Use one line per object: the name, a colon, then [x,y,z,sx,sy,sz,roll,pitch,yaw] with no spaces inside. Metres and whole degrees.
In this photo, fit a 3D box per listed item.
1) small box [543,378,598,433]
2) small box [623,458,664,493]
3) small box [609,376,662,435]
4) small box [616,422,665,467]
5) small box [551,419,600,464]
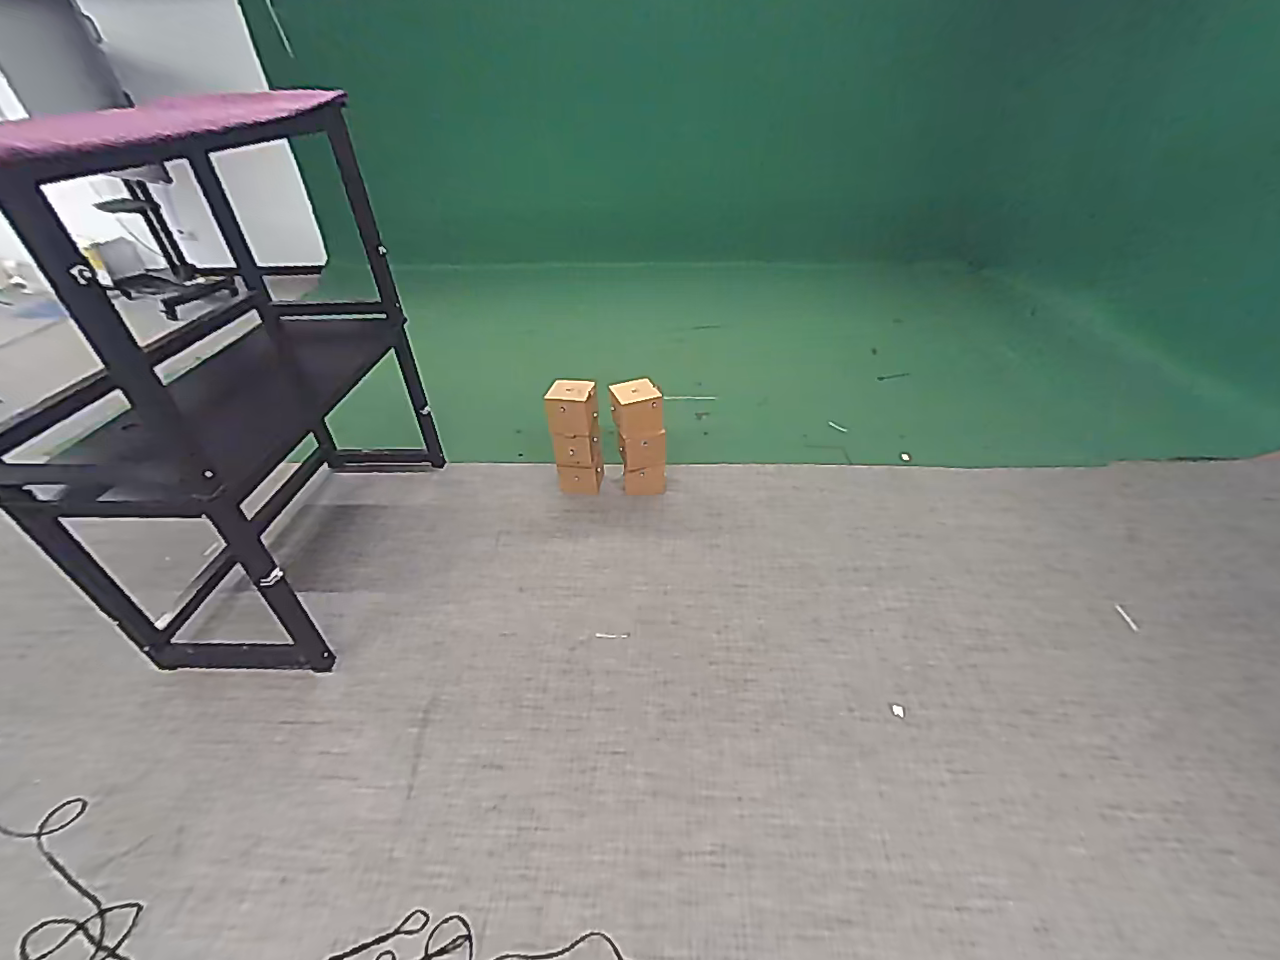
small box: [-0.281,-0.308,2.238,0.179,0.176,0.168,6,39,11]
small box: [0.015,-0.054,2.434,0.179,0.176,0.168,-4,39,-3]
small box: [-0.019,-0.305,2.229,0.179,0.176,0.168,-15,41,-16]
small box: [0.002,-0.175,2.326,0.179,0.176,0.168,-12,41,-13]
small box: [-0.275,-0.184,2.349,0.168,0.176,0.179,4,39,9]
